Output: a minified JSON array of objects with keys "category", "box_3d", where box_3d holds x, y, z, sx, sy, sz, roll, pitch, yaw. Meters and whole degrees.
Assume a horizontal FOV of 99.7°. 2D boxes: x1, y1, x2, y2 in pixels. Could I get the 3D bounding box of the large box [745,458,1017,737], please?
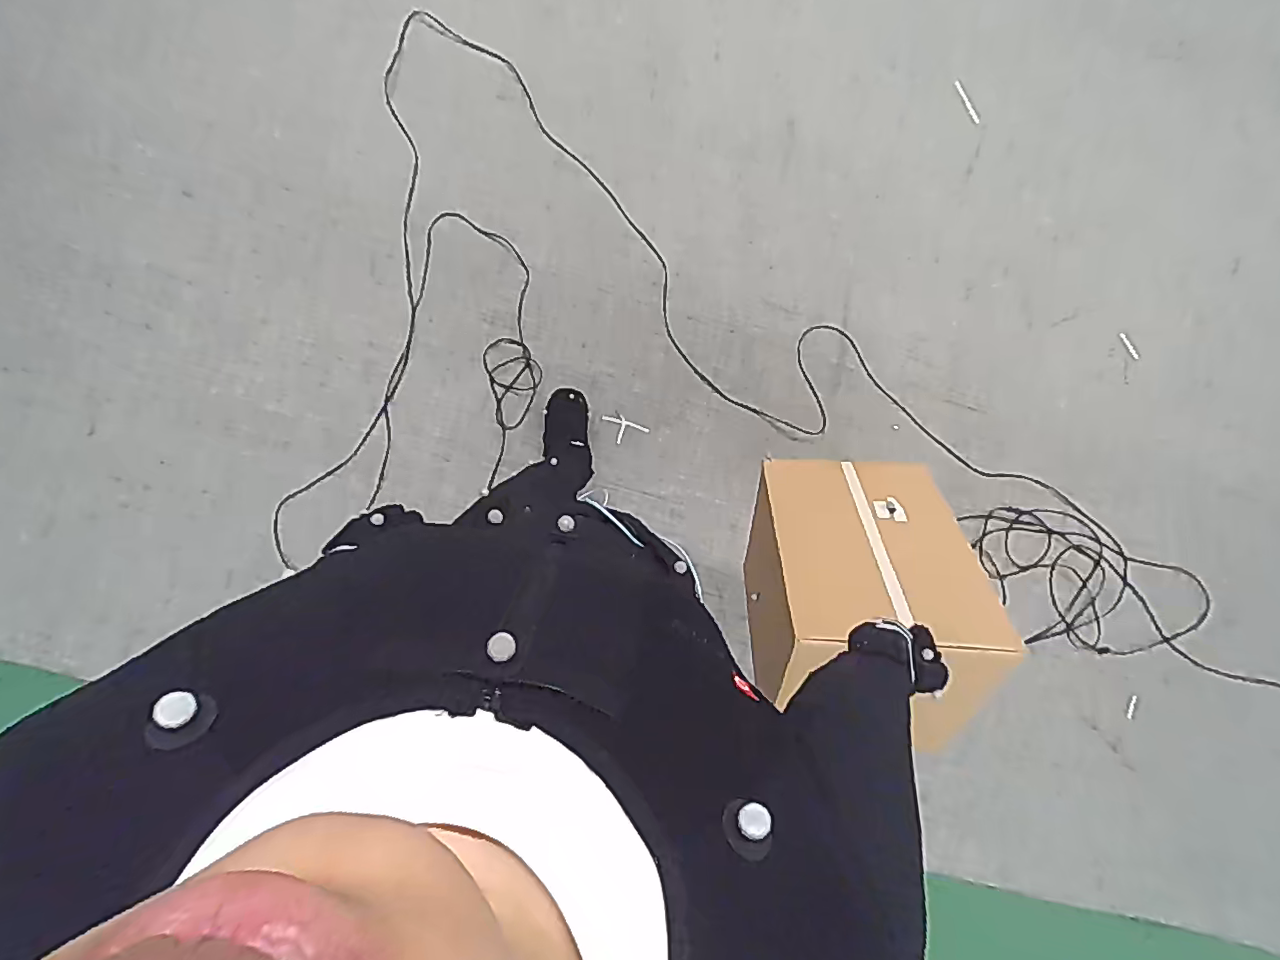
[{"category":"large box","box_3d":[0.381,0.206,0.996,0.320,0.408,0.320,3,129,2]}]
